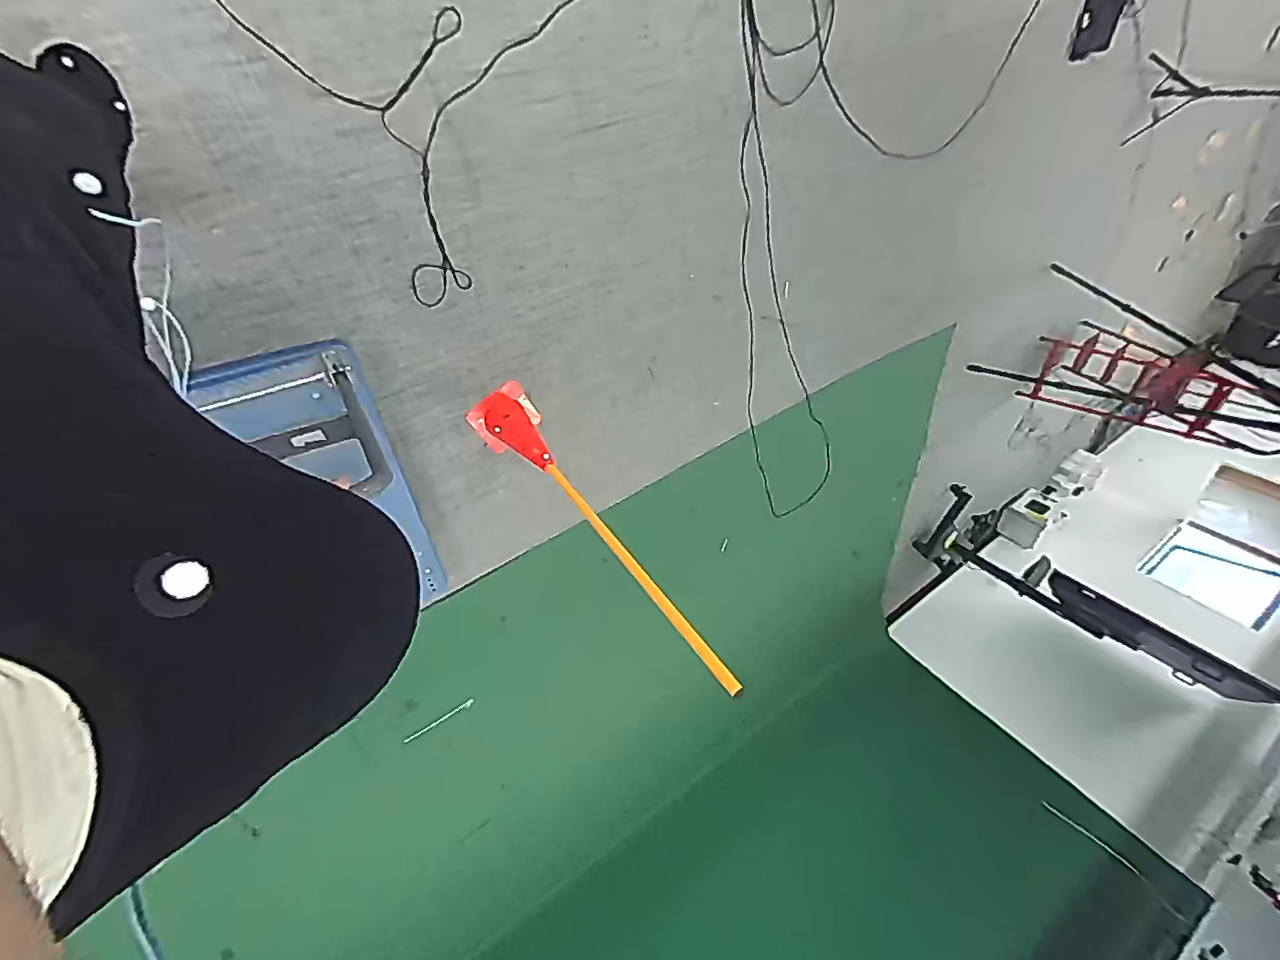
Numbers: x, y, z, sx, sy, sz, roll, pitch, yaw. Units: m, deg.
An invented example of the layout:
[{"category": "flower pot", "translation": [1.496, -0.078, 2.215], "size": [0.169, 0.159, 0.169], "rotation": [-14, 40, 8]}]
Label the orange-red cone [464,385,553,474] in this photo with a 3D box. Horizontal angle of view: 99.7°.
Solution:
[{"category": "orange-red cone", "translation": [-0.366, -0.119, 1.686], "size": [0.199, 0.360, 0.198], "rotation": [-40, 138, -11]}]
